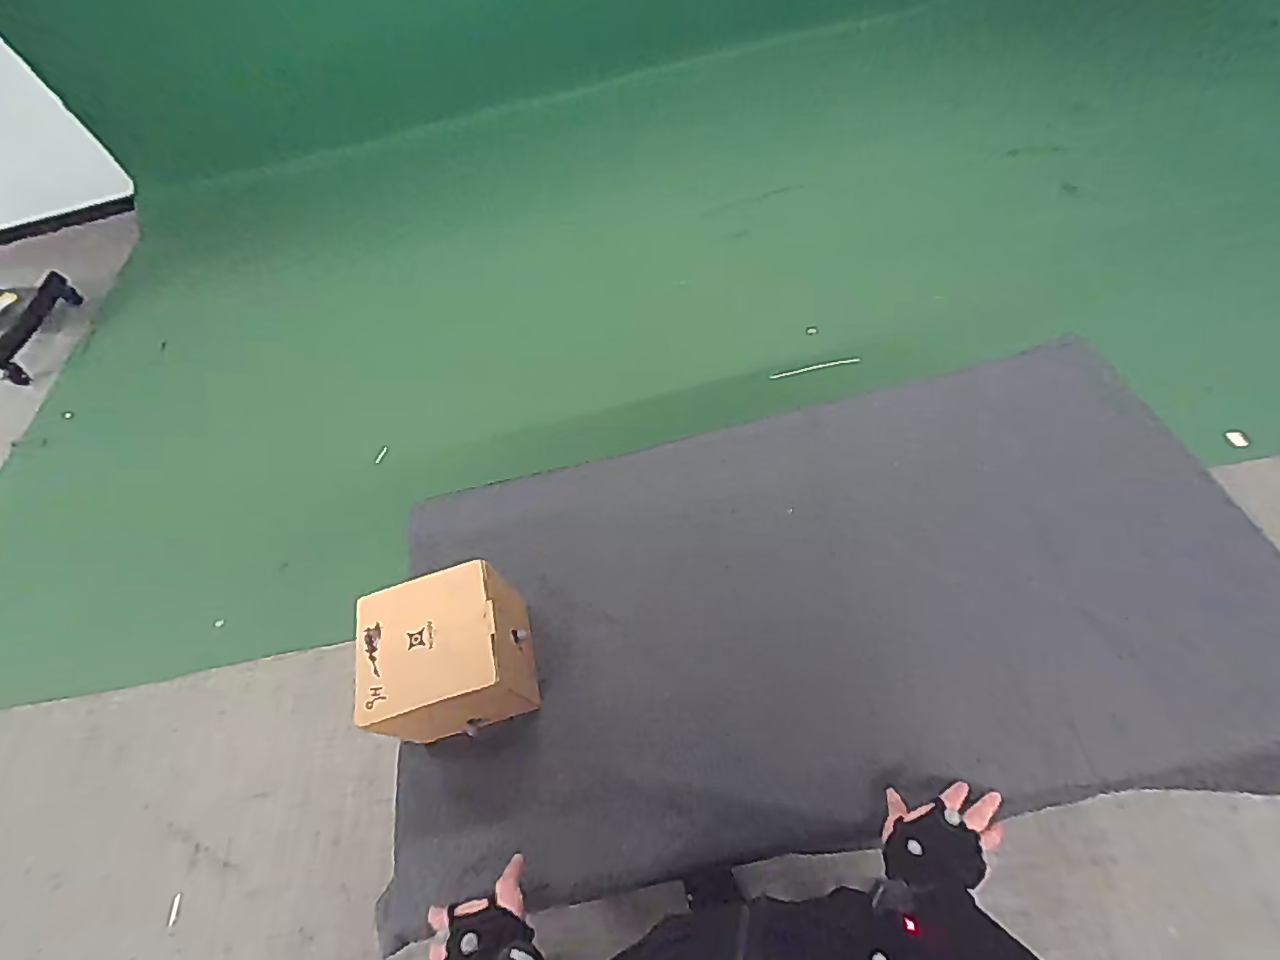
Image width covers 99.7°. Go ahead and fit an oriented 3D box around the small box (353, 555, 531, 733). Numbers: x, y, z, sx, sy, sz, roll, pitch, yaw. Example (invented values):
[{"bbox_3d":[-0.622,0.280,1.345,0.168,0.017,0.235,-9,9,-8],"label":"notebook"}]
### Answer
[{"bbox_3d":[-0.255,0.226,0.730,0.179,0.176,0.168,-16,57,-1],"label":"small box"}]
